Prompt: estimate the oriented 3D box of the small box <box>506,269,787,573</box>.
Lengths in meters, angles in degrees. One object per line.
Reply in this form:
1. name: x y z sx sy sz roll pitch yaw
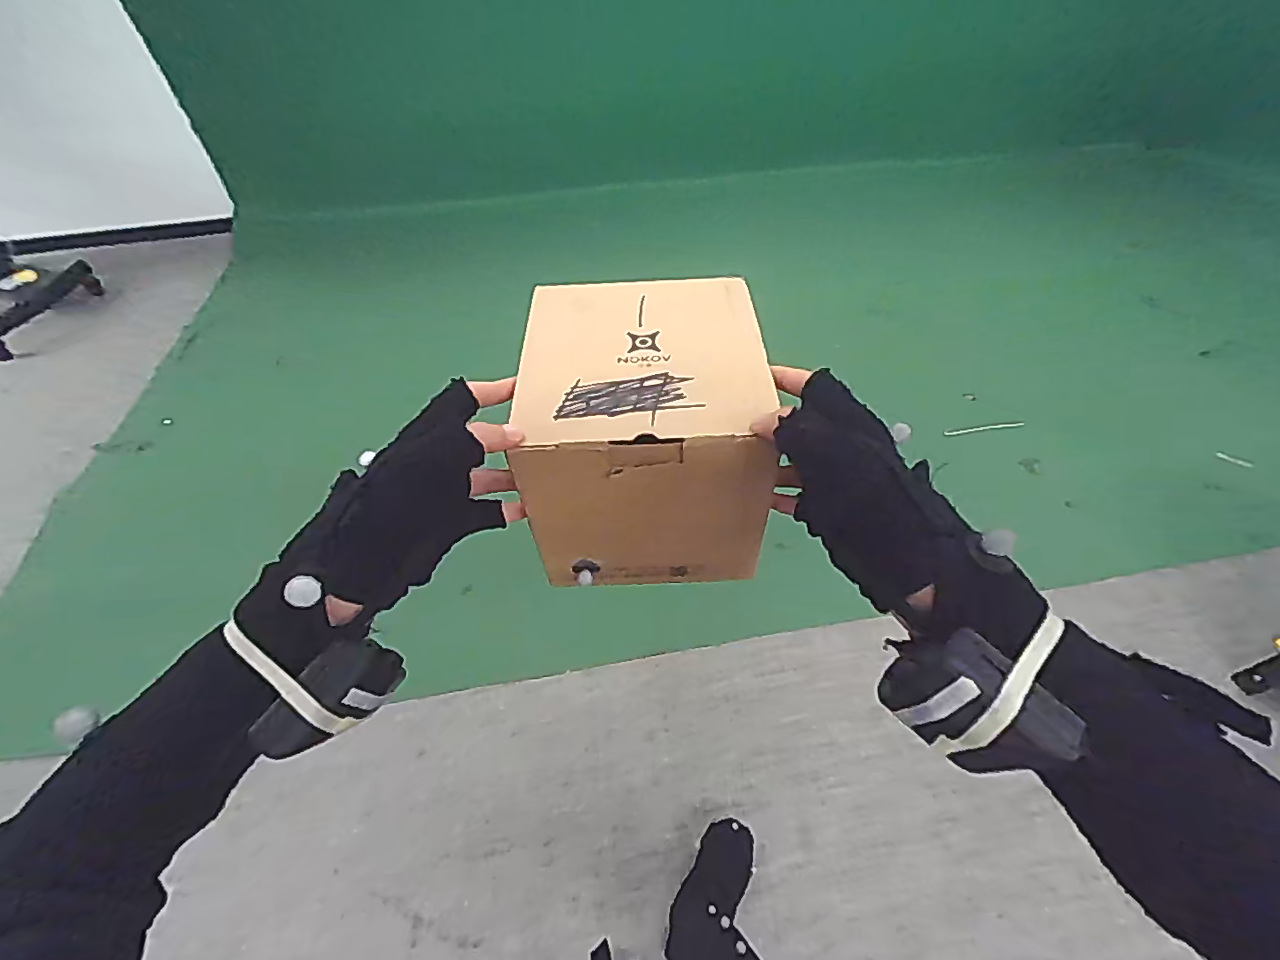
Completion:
1. small box: 0.007 -0.038 0.420 0.168 0.176 0.179 -3 50 1
